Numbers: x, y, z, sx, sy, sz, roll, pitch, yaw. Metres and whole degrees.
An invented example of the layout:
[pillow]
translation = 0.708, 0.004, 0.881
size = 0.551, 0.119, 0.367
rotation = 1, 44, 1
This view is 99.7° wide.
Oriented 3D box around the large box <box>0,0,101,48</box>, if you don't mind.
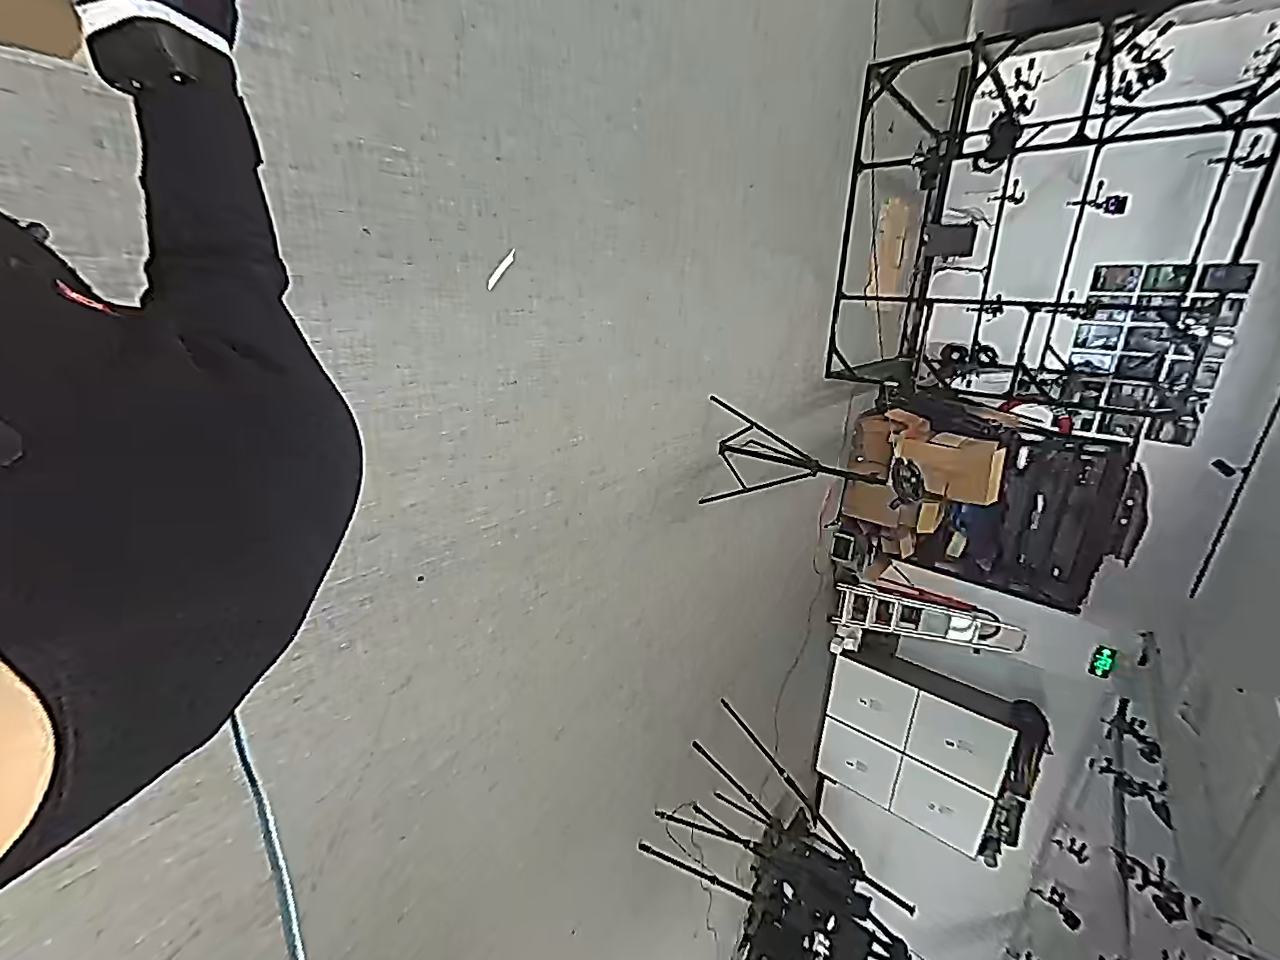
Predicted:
[large box]
translation = -0.574, -0.473, 0.251
size = 0.408, 0.320, 0.320
rotation = -21, 123, -47
